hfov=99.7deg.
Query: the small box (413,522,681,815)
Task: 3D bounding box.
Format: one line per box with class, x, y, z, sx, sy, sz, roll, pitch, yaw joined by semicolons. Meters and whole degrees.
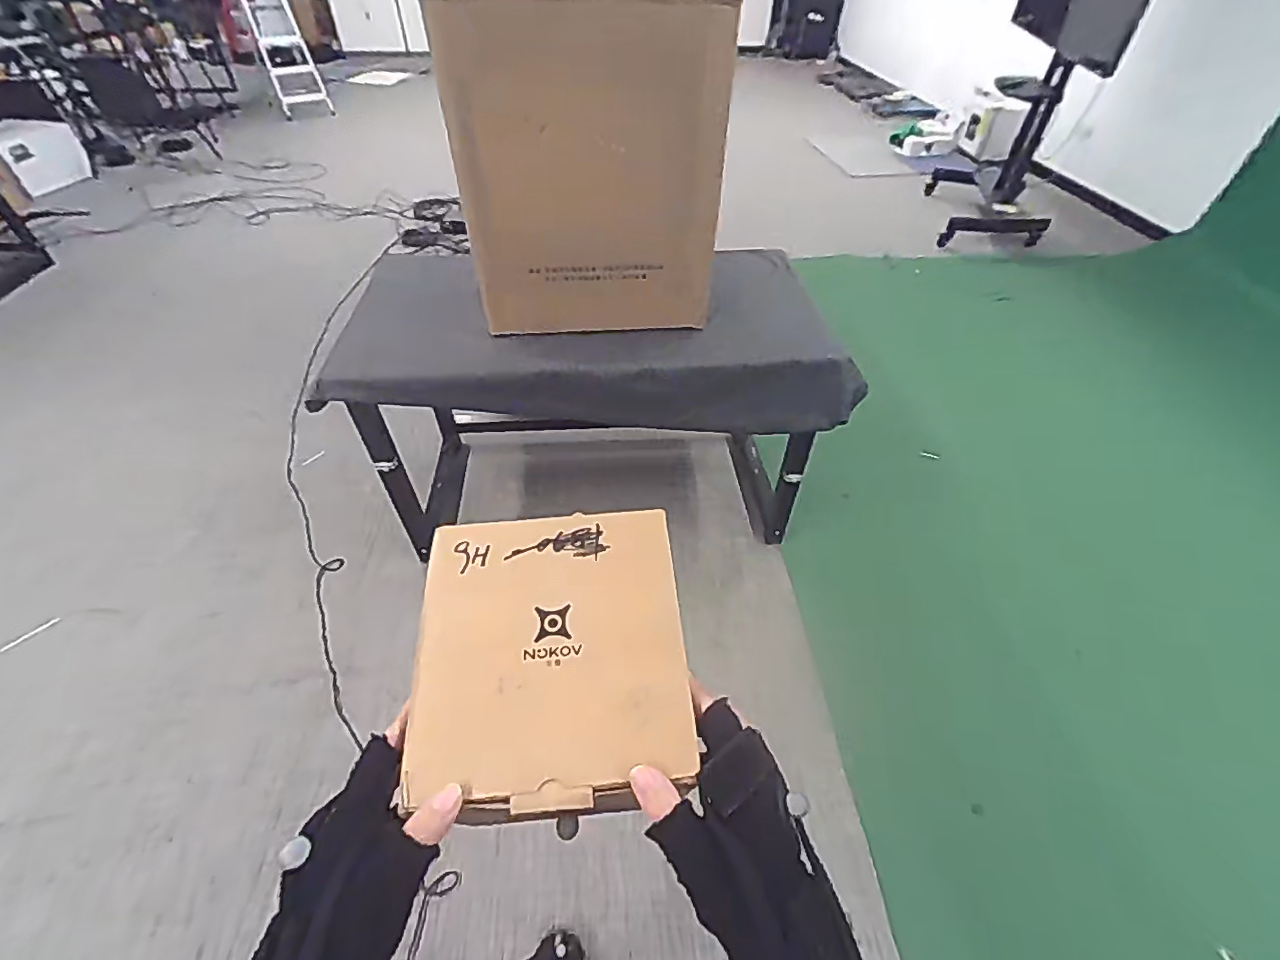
small box;-0.062;0.157;0.433;0.168;0.176;0.179;-7;55;-4
